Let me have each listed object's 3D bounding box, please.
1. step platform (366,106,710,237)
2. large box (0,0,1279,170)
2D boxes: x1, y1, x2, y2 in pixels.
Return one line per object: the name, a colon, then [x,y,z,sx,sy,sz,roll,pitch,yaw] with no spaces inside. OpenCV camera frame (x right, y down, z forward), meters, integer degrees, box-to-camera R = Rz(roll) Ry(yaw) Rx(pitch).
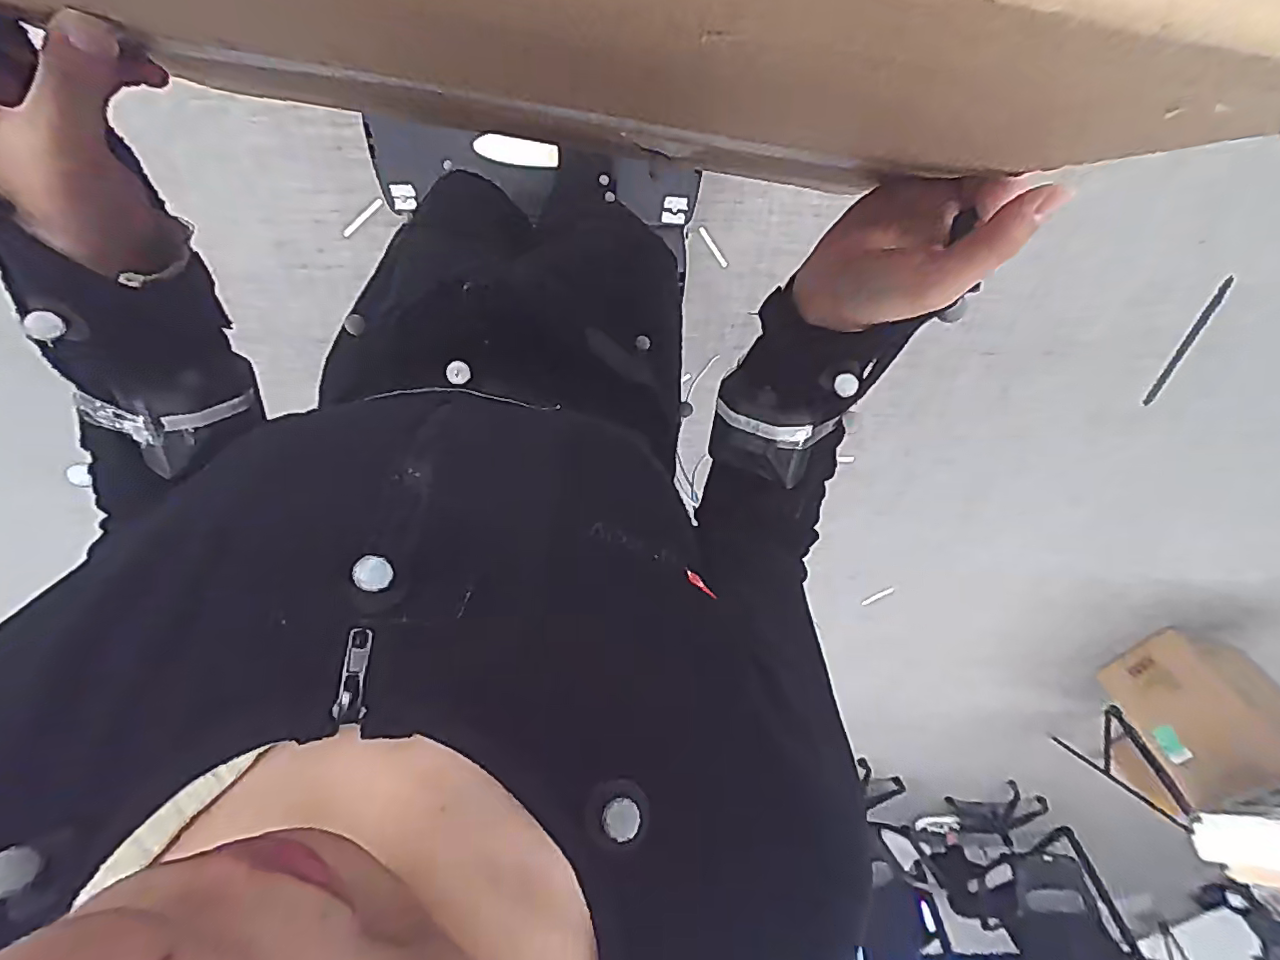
step platform: [-0.195,-0.711,1.131,0.684,0.204,0.286,5,129,-6]
large box: [-0.045,-0.300,0.152,0.408,0.320,0.320,5,117,-4]
